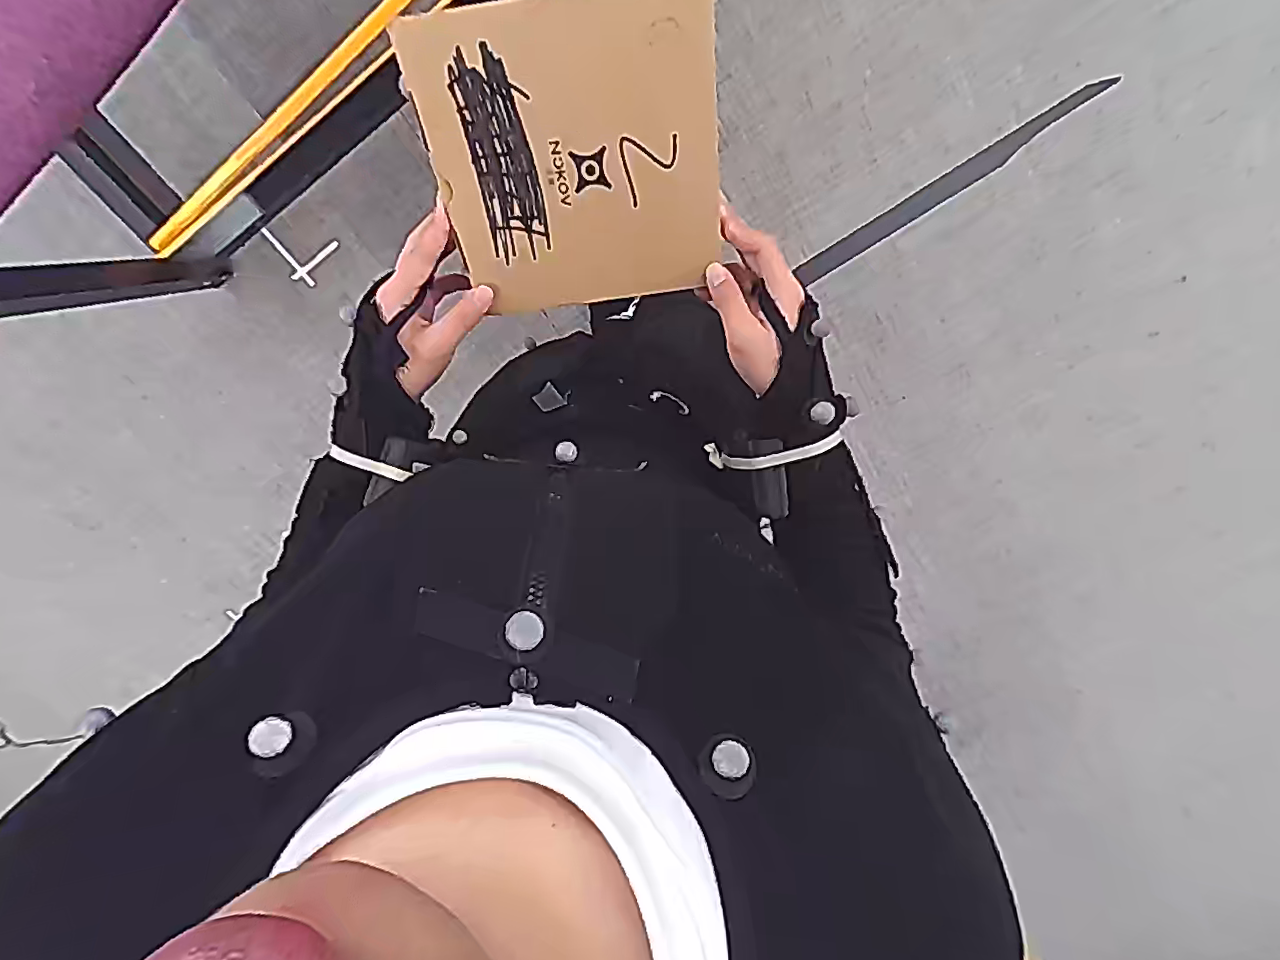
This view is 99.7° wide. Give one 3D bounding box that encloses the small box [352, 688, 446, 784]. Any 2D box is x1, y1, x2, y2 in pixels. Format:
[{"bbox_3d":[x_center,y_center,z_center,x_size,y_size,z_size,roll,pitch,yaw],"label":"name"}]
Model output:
[{"bbox_3d":[-0.719,0.769,1.635,0.179,0.176,0.168,-25,114,7],"label":"small box"}]
